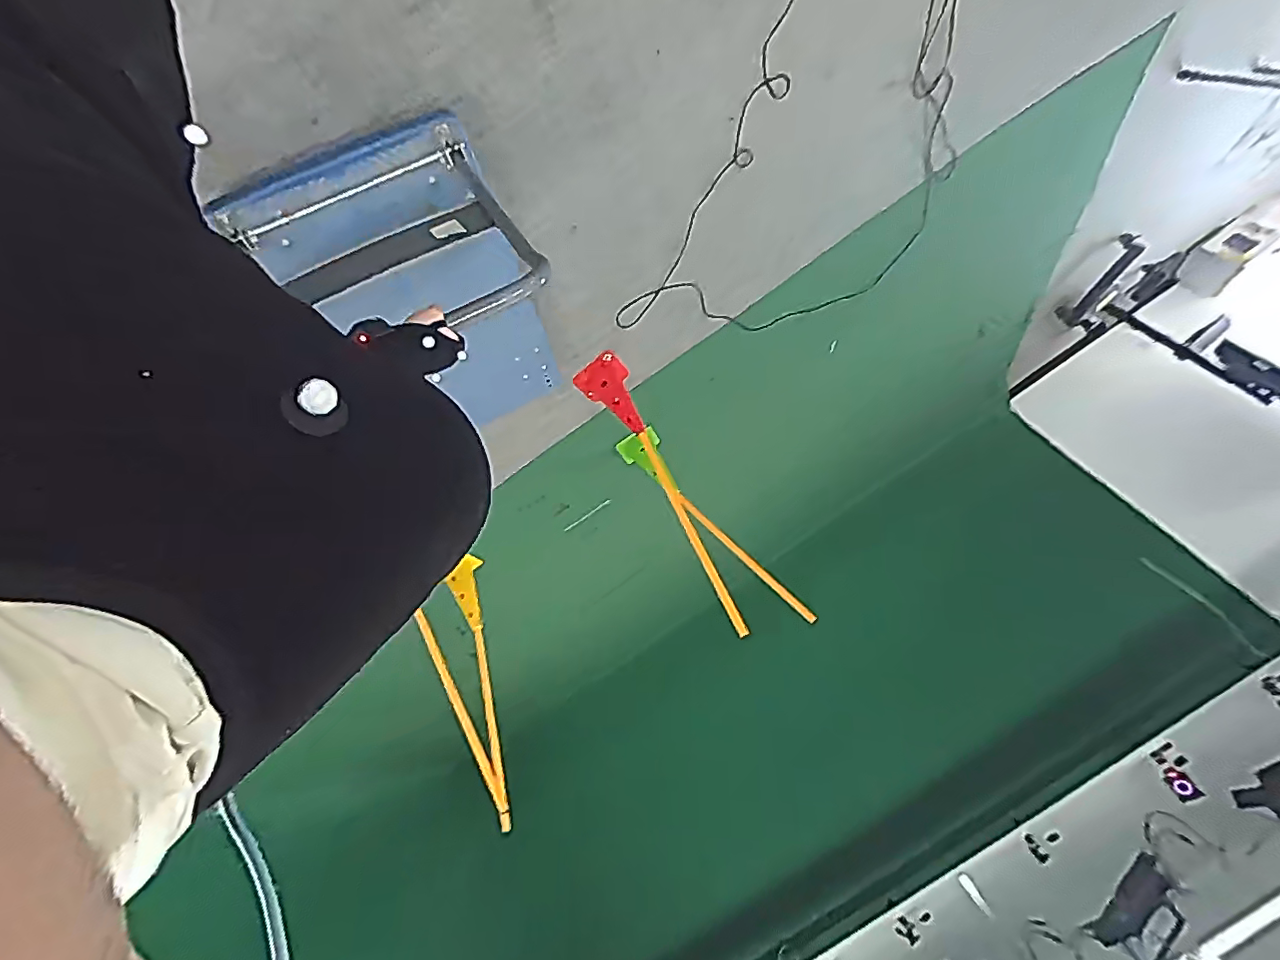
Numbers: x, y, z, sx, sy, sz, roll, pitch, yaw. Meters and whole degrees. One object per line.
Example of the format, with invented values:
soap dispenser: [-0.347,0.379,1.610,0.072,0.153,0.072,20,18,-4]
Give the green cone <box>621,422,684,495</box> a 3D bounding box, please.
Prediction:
green cone: [0.095,-0.069,2.587,0.200,0.368,0.202,-36,150,2]
